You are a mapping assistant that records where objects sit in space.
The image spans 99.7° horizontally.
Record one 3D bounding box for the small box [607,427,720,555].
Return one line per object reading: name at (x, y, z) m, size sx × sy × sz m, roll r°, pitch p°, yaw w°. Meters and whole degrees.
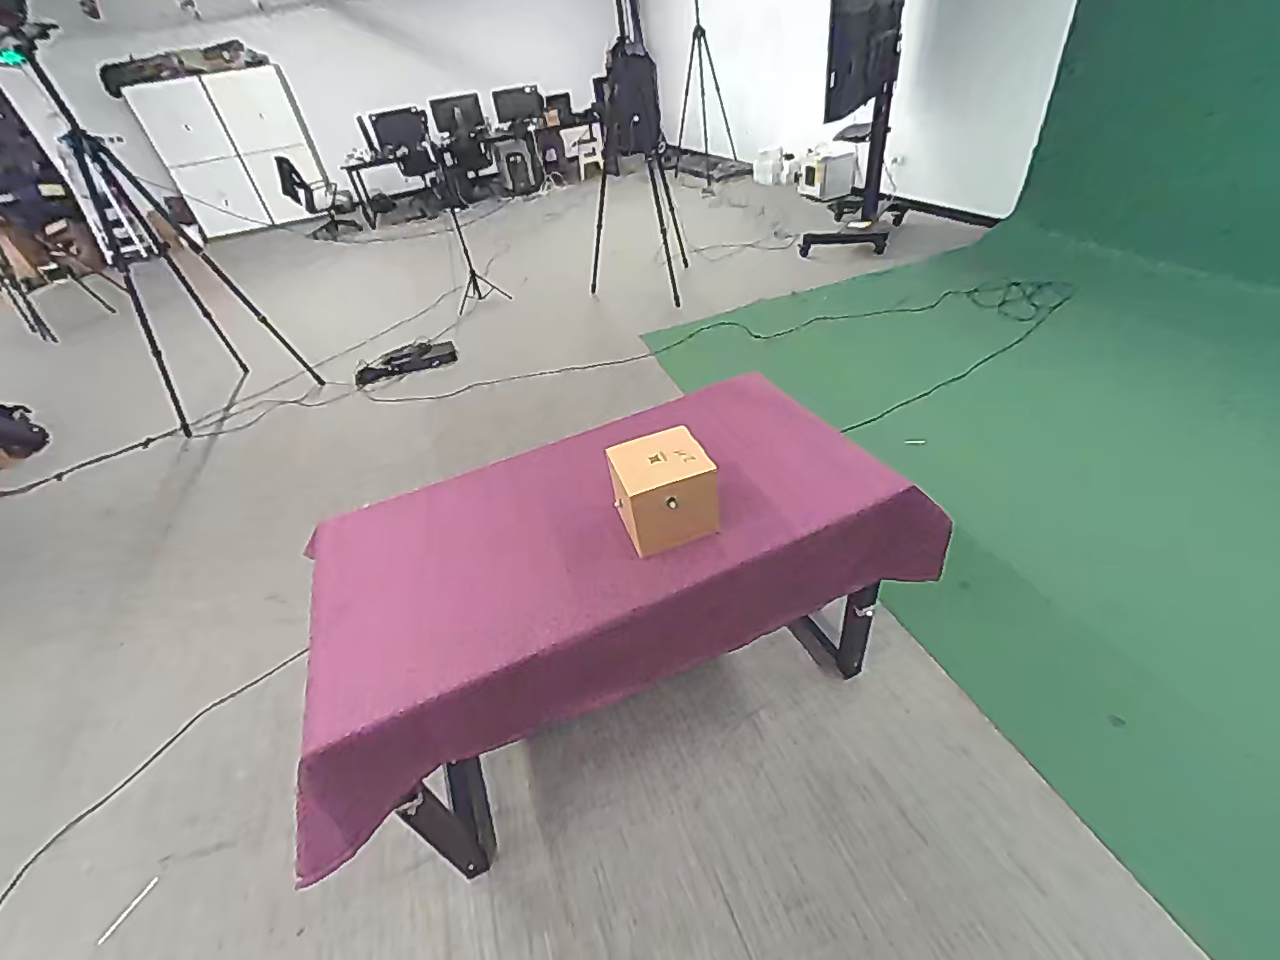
small box at (0.050, 0.024, 1.090) m, size 0.179 × 0.176 × 0.168 m, roll -18°, pitch 40°, yaw -8°
